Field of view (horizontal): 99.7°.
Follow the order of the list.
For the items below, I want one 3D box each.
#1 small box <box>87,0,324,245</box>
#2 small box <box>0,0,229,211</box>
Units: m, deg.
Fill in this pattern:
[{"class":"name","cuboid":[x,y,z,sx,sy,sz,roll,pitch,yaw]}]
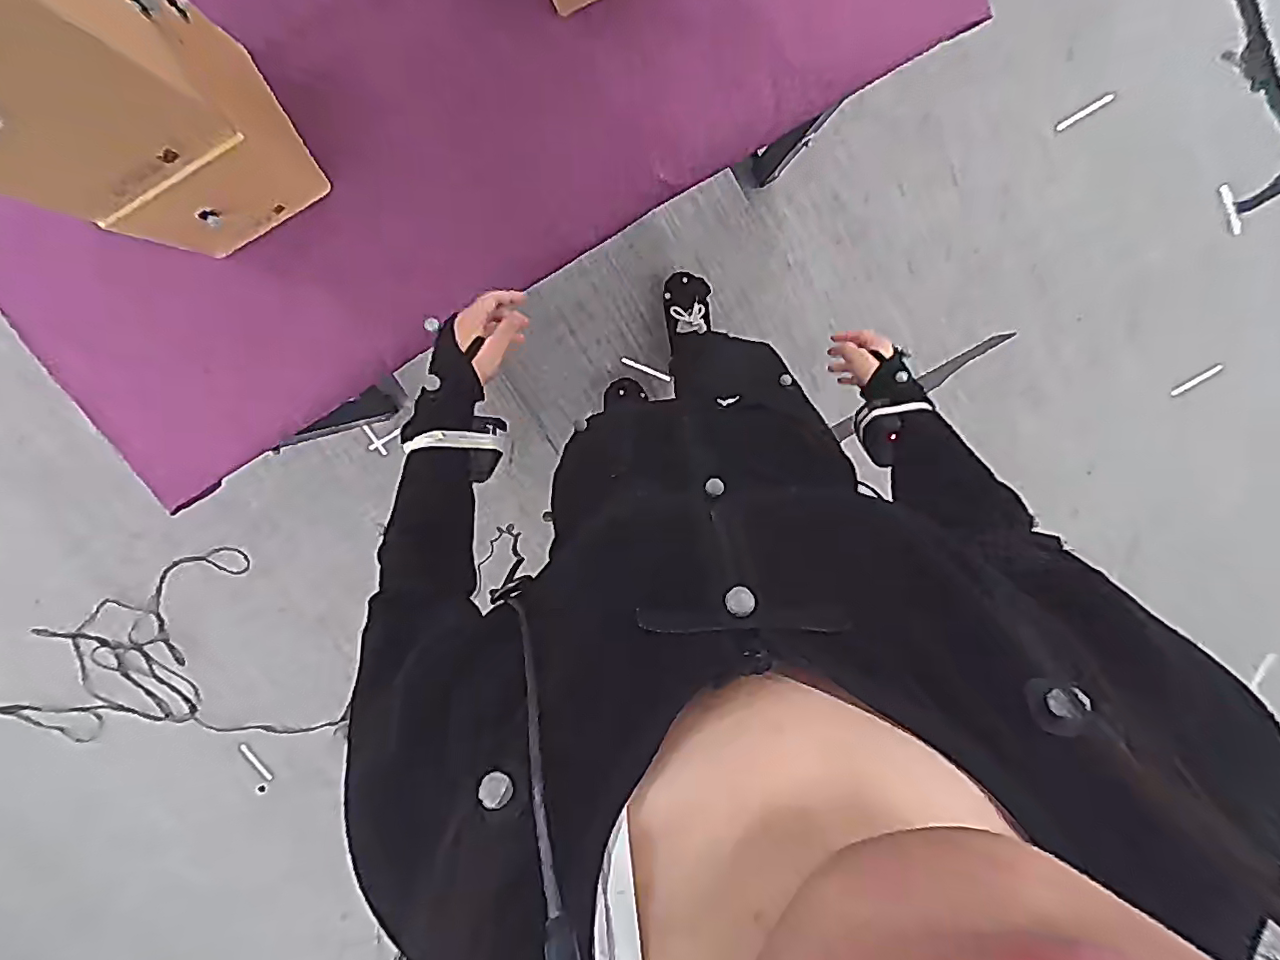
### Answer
[{"class":"small box","cuboid":[-0.477,-0.366,0.559,0.168,0.176,0.179,-29,102,3]},{"class":"small box","cuboid":[-0.472,-0.338,0.398,0.168,0.176,0.179,-30,101,4]}]
